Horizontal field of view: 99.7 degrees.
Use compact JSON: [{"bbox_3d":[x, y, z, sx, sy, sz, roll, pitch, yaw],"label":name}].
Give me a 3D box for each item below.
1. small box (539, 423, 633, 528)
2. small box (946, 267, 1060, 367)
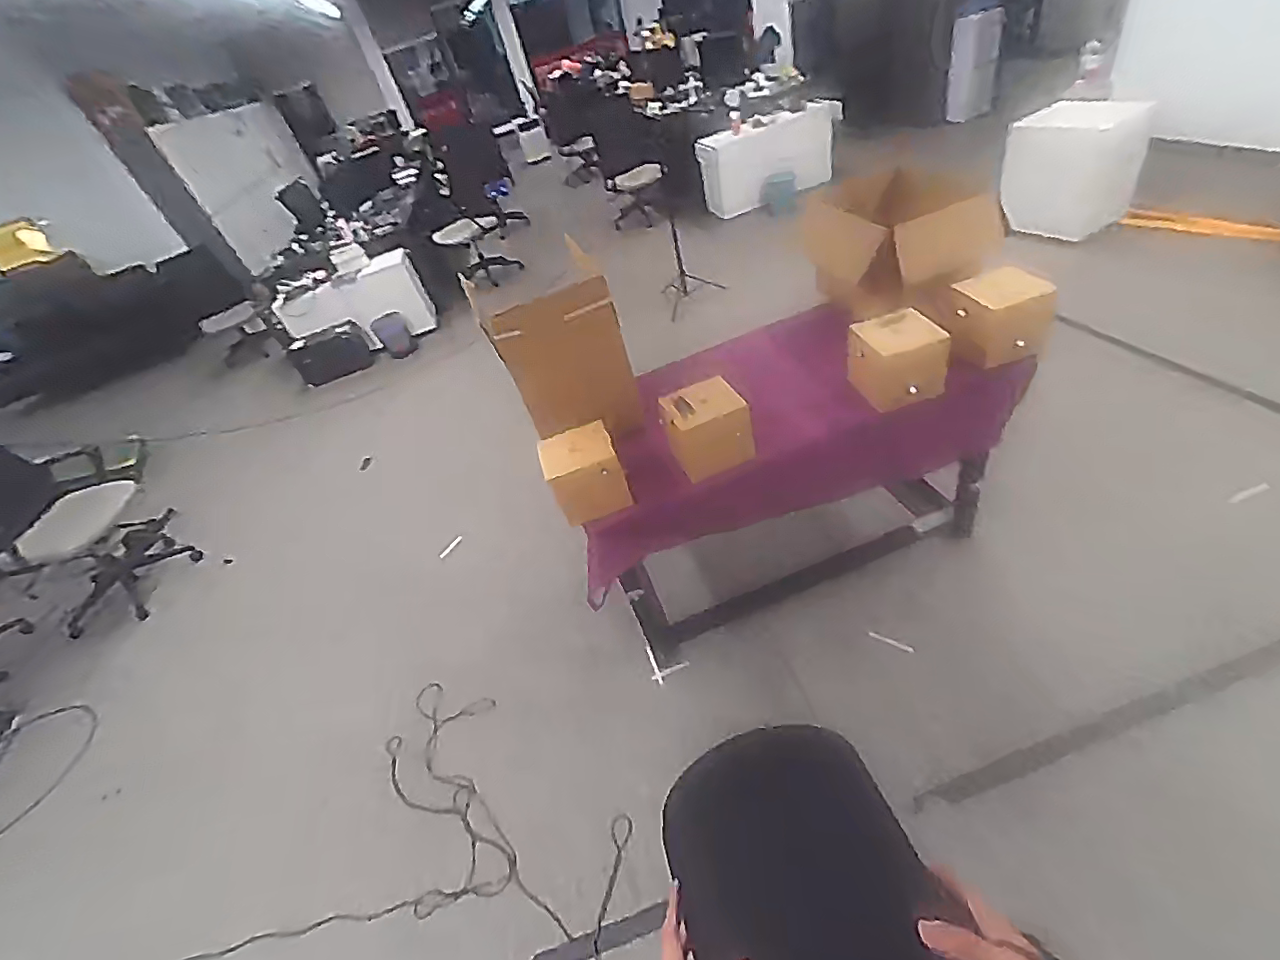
[{"bbox_3d":[-0.135,-0.008,1.350,0.179,0.176,0.168,-21,40,-3],"label":"small box"},{"bbox_3d":[0.915,-0.416,1.384,0.168,0.176,0.179,-18,40,3],"label":"small box"}]
